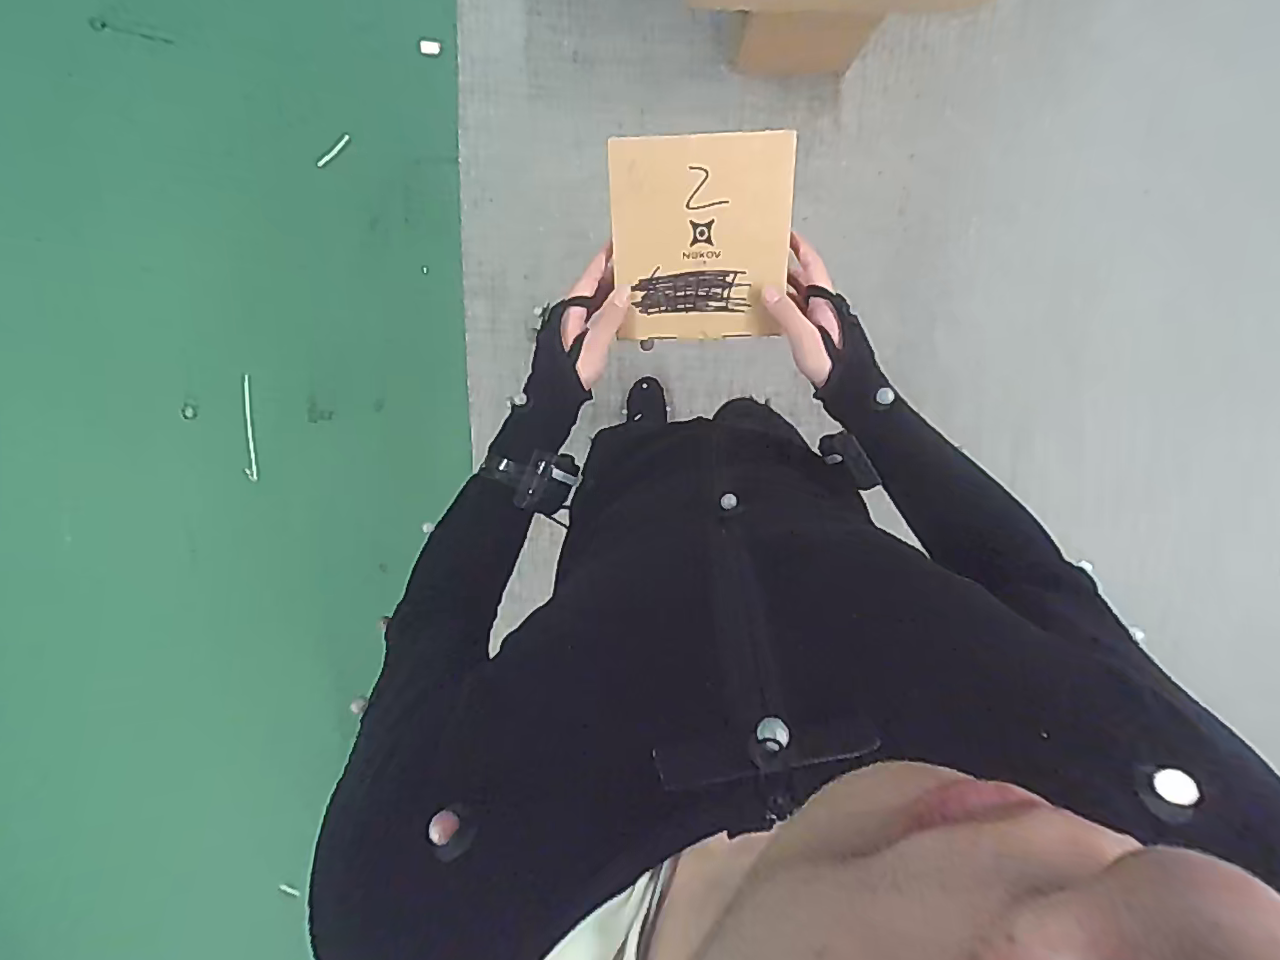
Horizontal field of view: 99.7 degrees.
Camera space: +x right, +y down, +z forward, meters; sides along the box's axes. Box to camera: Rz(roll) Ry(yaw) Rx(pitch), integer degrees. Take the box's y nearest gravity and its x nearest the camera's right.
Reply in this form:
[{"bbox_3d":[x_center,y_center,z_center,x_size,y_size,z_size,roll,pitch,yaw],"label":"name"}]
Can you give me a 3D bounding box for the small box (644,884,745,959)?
[{"bbox_3d":[0.093,0.855,0.943,0.168,0.176,0.179,1,101,-1],"label":"small box"}]
